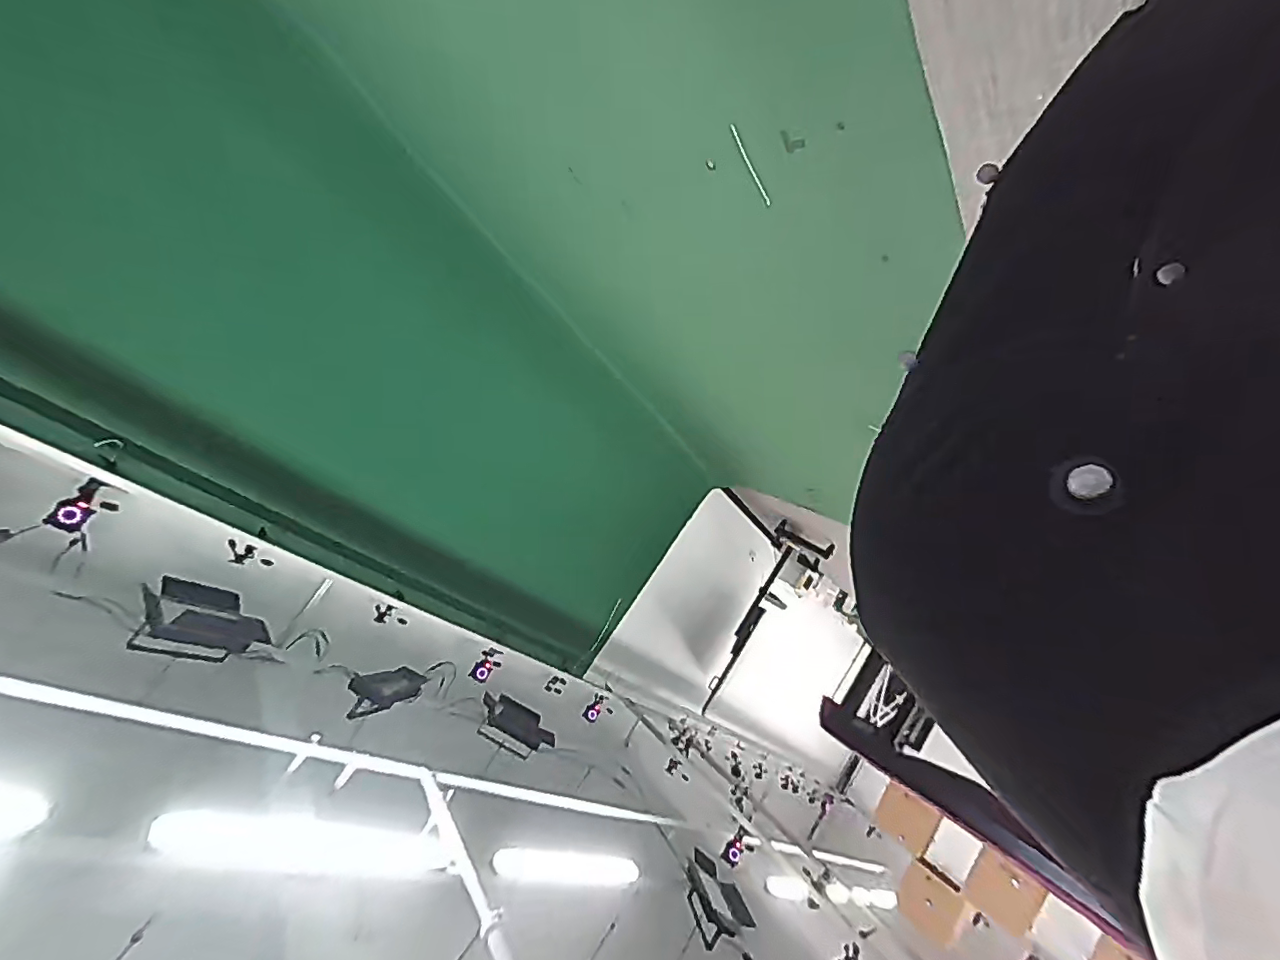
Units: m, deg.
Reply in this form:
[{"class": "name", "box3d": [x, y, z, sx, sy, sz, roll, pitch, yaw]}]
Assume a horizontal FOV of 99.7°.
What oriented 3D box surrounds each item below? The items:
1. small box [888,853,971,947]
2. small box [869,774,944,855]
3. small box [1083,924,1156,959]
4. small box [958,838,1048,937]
[{"class": "small box", "box3d": [0.913, 1.304, 1.692, 0.168, 0.176, 0.179, 25, 169, 47]}, {"class": "small box", "box3d": [0.906, 1.122, 1.827, 0.168, 0.176, 0.179, 25, 169, 41]}, {"class": "small box", "box3d": [1.240, 1.272, 1.370, 0.179, 0.176, 0.168, 41, 169, -38]}, {"class": "small box", "box3d": [1.083, 1.203, 1.606, 0.168, 0.176, 0.179, 24, 167, 47]}]
